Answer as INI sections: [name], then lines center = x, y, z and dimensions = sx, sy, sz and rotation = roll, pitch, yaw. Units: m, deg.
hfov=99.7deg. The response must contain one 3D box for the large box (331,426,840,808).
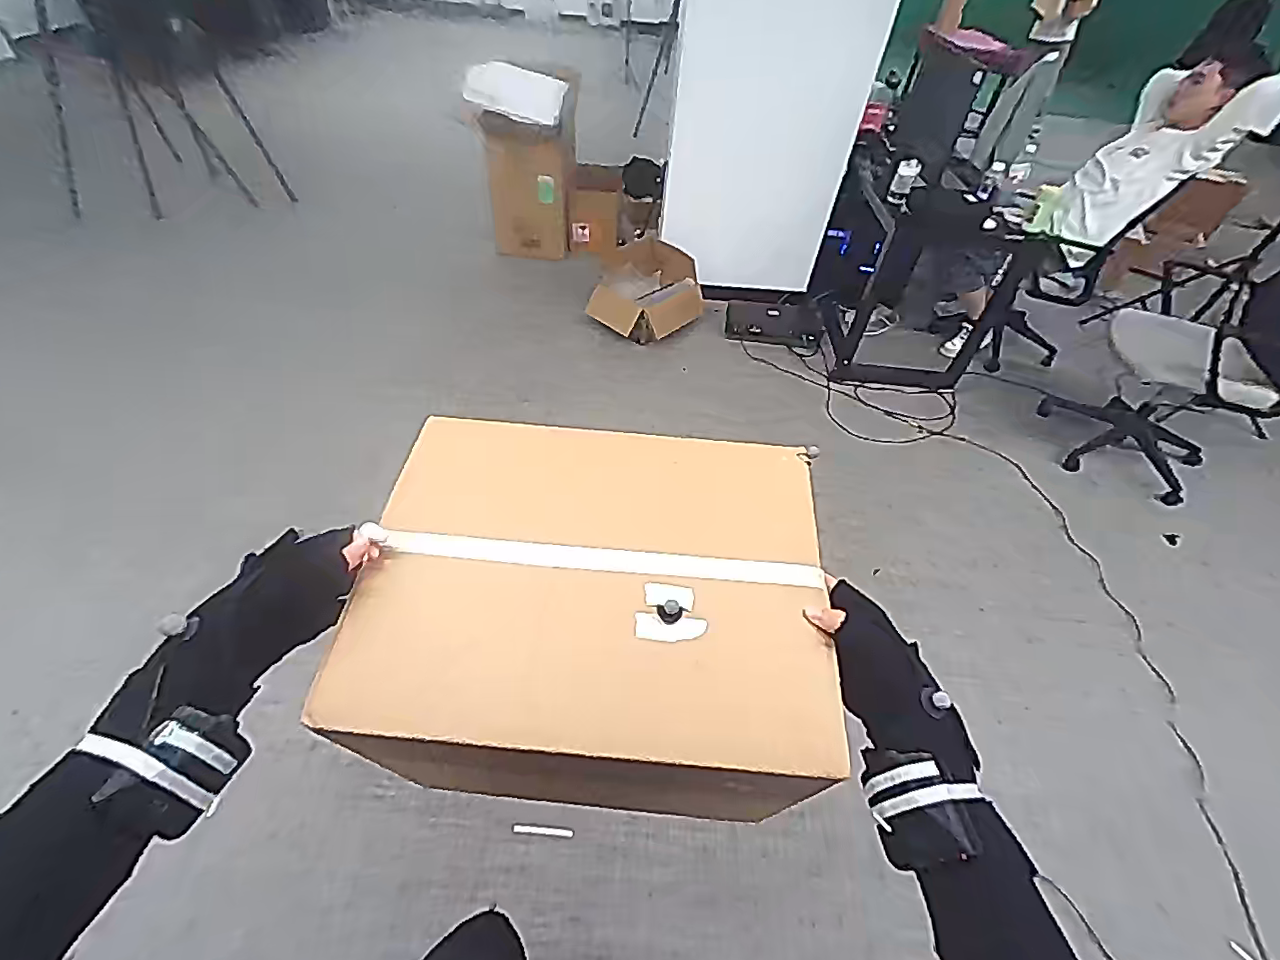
[large box]
center = -0.040, 0.166, 0.621
dimensions = 0.408, 0.320, 0.320
rotation = 6, 54, 1
